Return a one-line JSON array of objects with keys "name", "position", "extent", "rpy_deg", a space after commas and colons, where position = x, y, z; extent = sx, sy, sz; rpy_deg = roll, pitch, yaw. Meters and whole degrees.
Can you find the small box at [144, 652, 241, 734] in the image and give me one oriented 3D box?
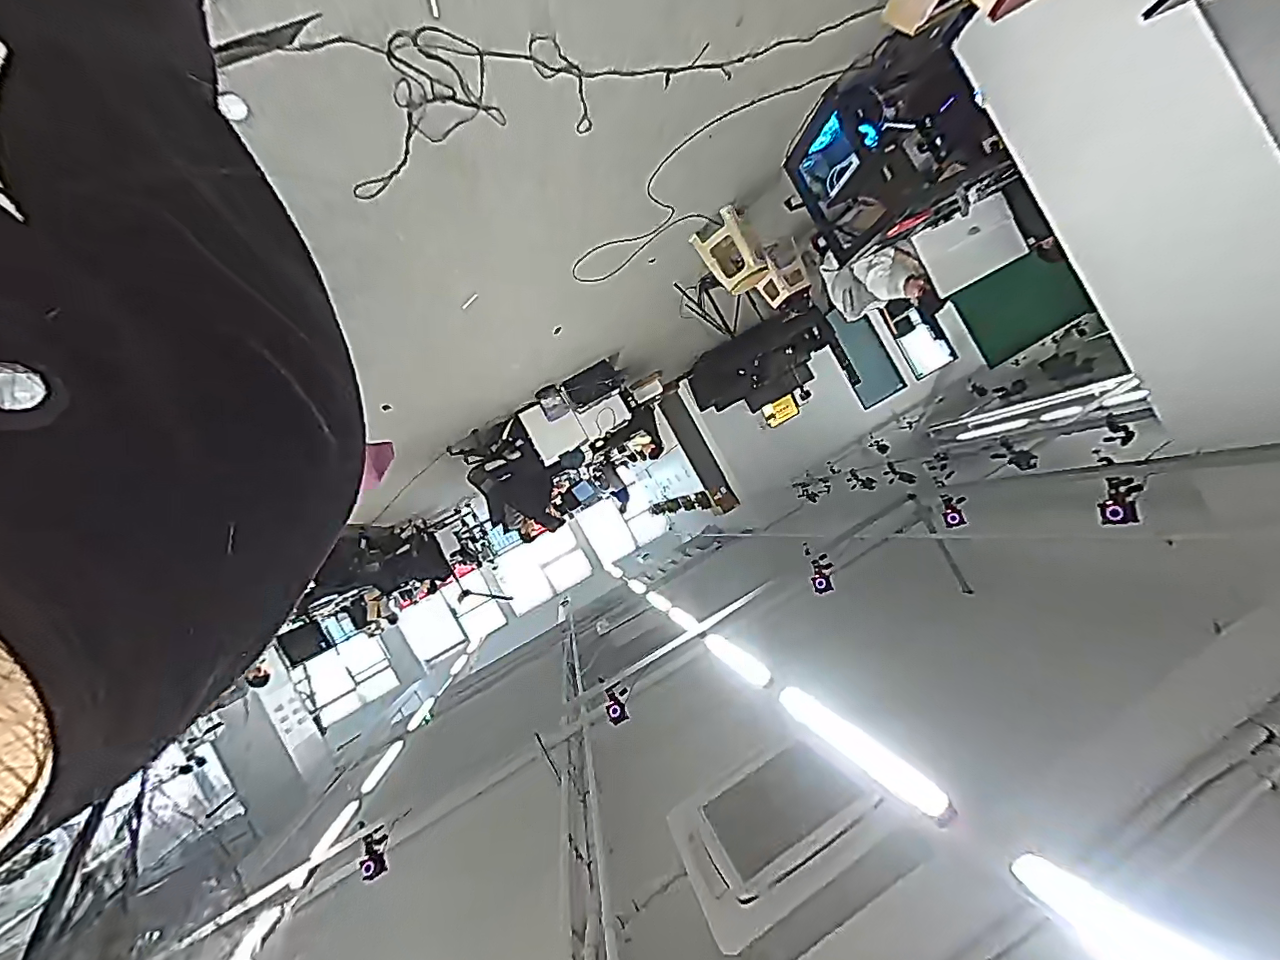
[{"name": "small box", "position": [-1.493, 0.700, 1.799], "extent": [0.179, 0.176, 0.168], "rpy_deg": [-30, 179, -12]}]
